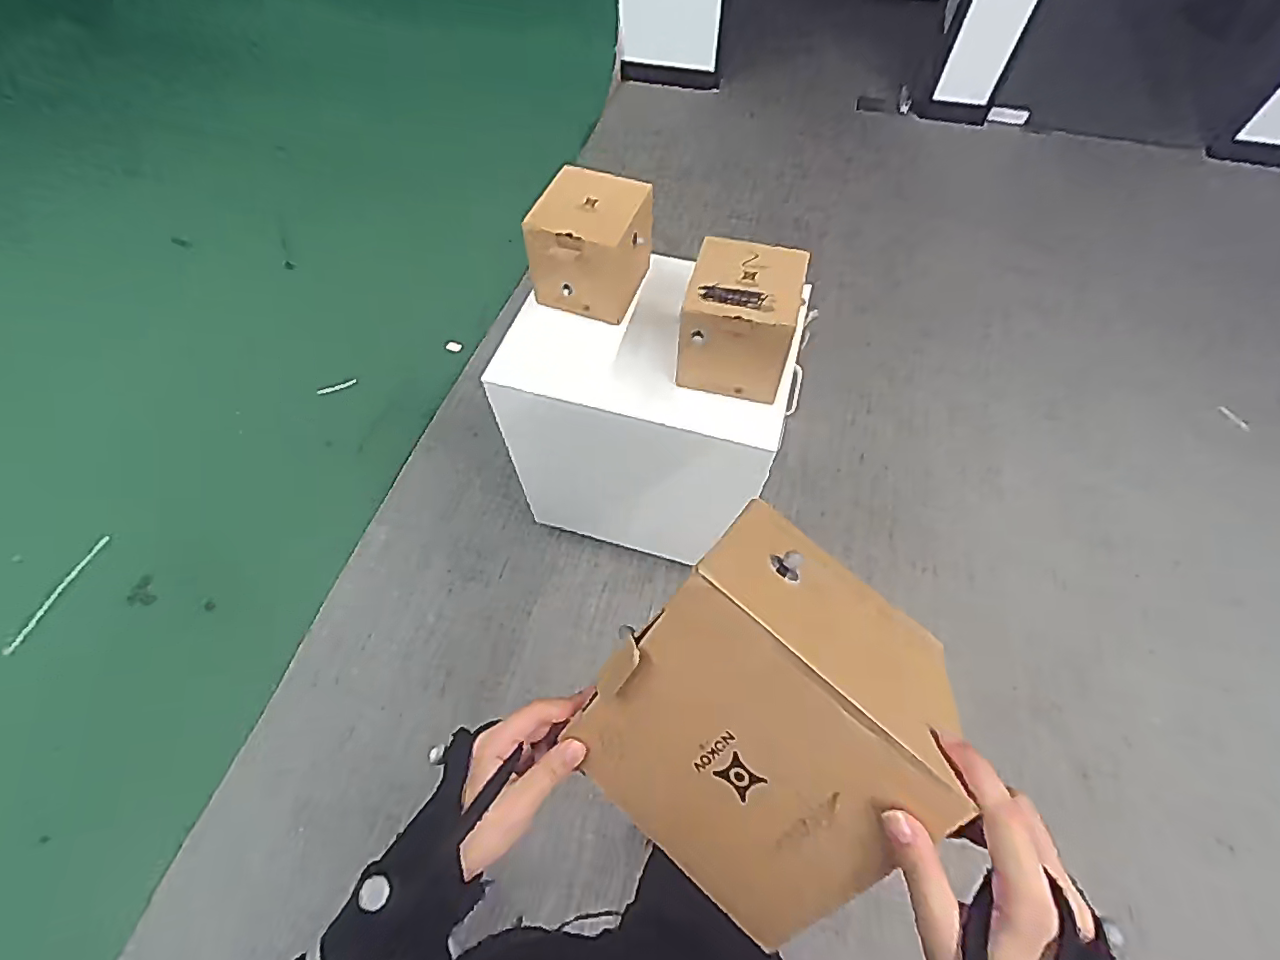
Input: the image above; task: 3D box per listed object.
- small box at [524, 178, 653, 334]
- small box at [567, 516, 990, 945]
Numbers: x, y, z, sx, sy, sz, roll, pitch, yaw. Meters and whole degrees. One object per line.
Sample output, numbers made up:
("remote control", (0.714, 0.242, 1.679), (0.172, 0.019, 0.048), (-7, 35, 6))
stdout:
("small box", (-0.086, -0.396, 0.965), (0.168, 0.176, 0.179), (18, 62, 9))
("small box", (0.089, 0.143, 0.373), (0.179, 0.168, 0.176), (38, 24, 11))
